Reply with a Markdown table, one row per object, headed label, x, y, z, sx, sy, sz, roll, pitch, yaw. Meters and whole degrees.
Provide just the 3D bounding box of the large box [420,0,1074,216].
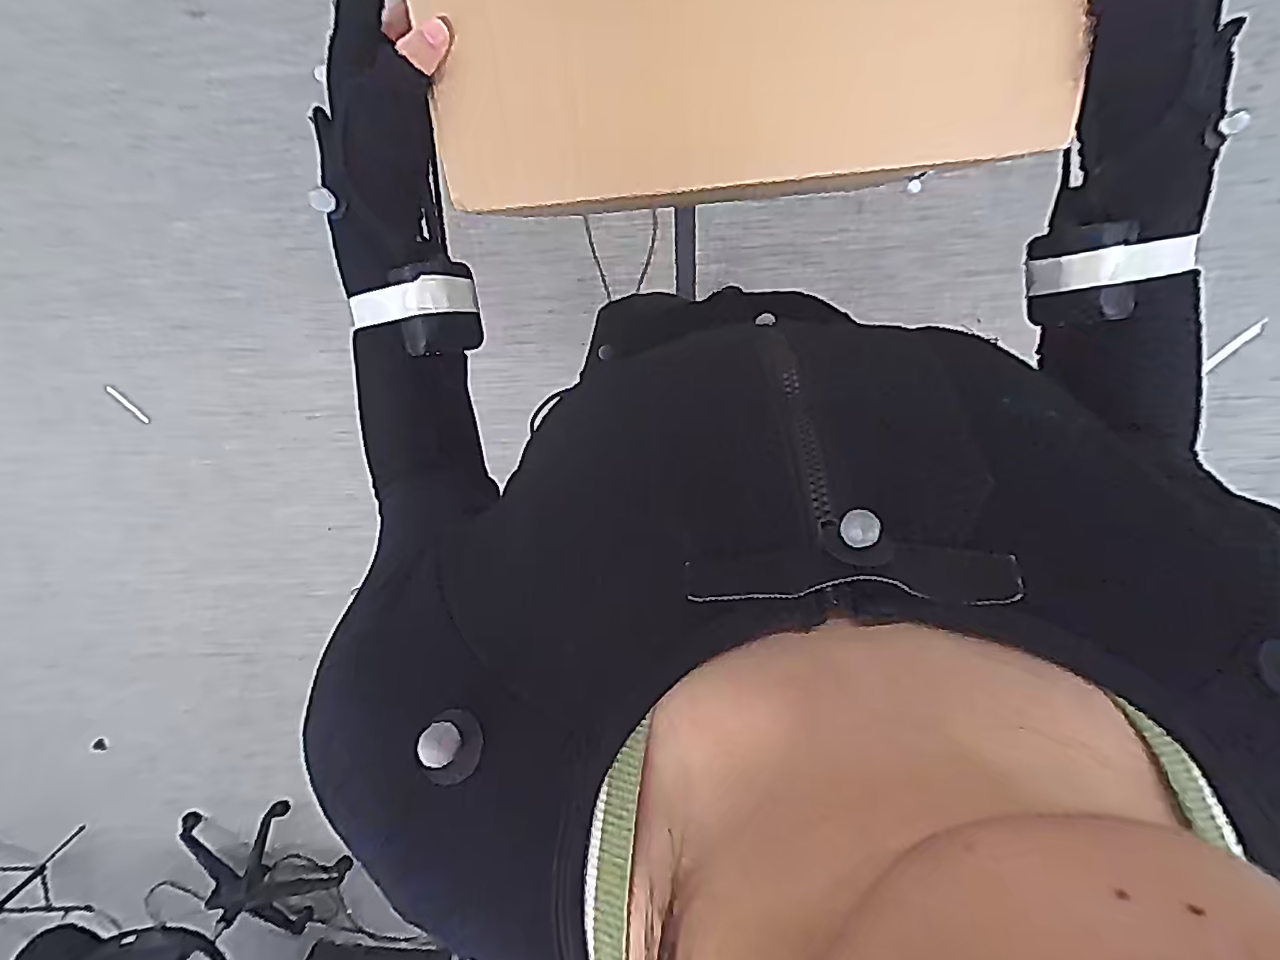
| label | x | y | z | sx | sy | sz | roll | pitch | yaw |
| --- | --- | --- | --- | --- | --- | --- | --- | --- | --- |
| large box | 0.063 | -0.406 | 0.439 | 0.408 | 0.320 | 0.320 | -4 | 115 | 3 |
